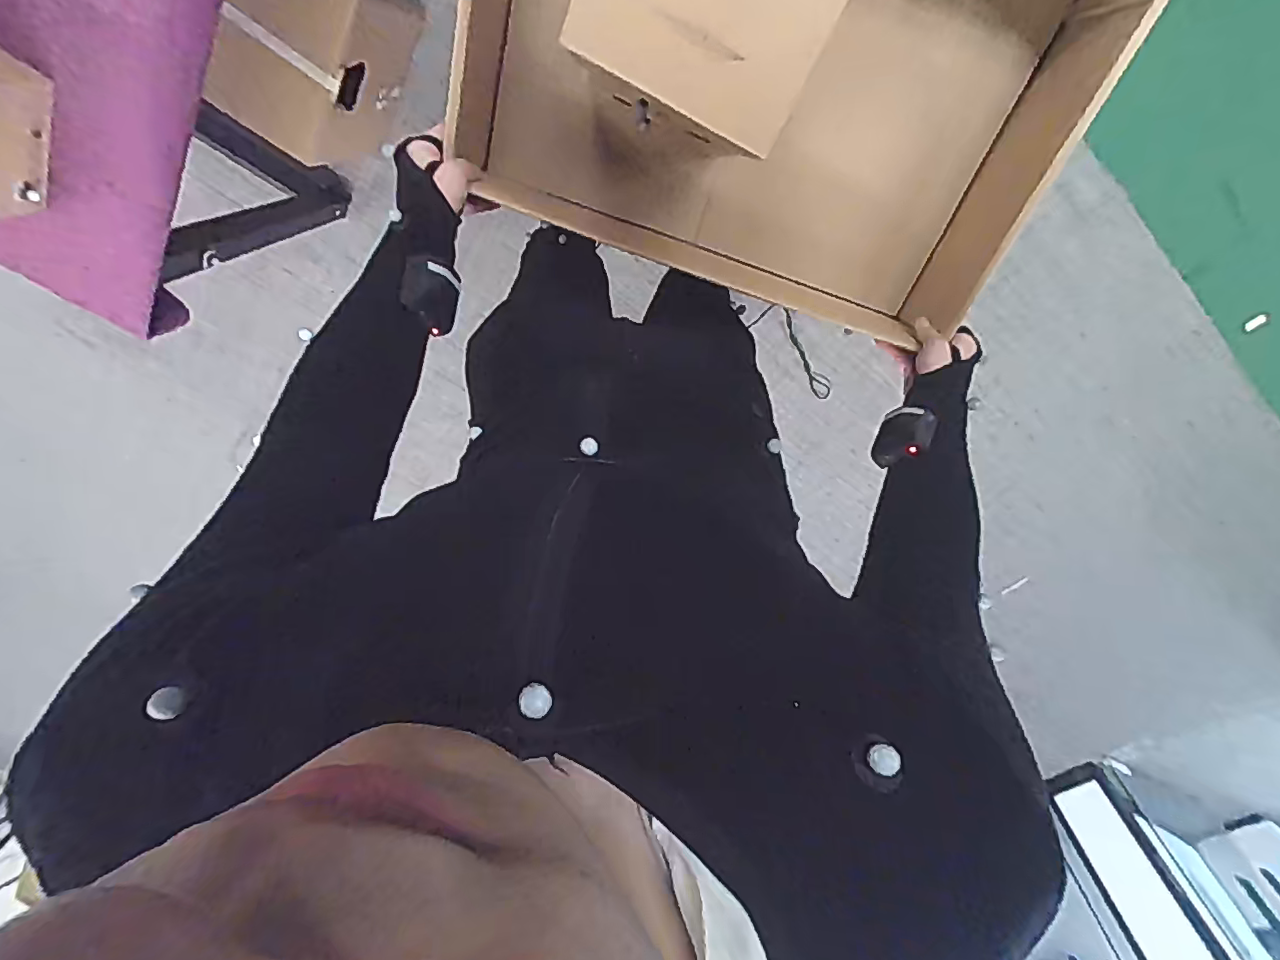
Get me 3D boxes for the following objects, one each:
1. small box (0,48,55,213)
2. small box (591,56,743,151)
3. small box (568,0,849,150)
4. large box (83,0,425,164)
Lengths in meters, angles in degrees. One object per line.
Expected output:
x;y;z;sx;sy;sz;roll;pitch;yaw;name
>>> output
-0.777;-0.393;0.559;0.179;0.176;0.168;31;119;-17;small box
0.058;-0.463;0.546;0.168;0.176;0.179;19;121;-12;small box
0.060;-0.380;0.404;0.168;0.176;0.179;23;120;-13;small box
-0.696;-0.879;1.028;0.408;0.320;0.320;30;119;-17;large box
